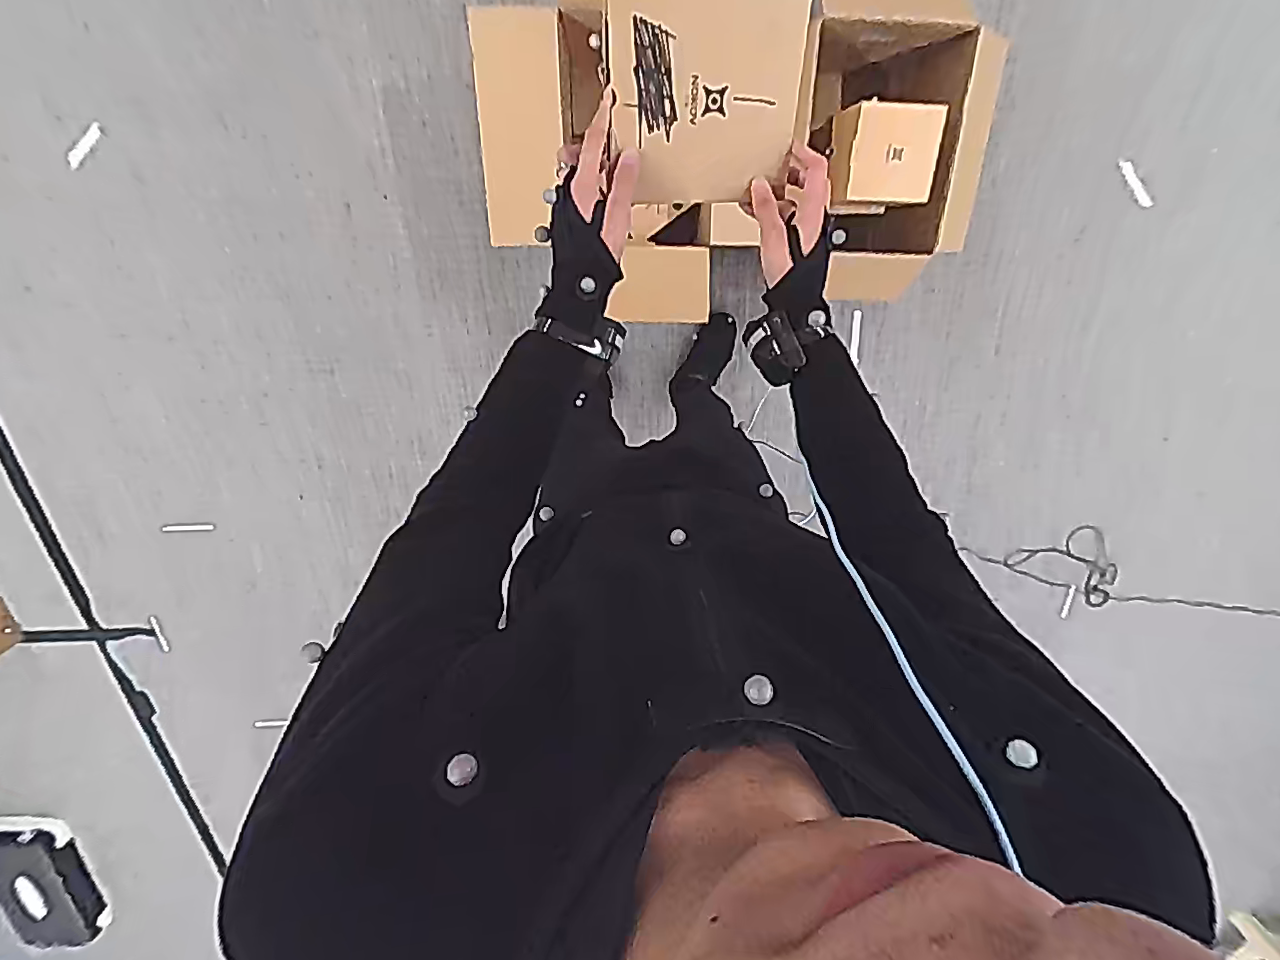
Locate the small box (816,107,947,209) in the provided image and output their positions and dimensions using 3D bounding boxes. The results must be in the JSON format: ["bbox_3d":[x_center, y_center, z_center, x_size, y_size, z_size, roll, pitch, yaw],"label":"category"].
[{"bbox_3d":[0.493,-0.663,1.128,0.179,0.176,0.168,0,115,-3],"label":"small box"}]

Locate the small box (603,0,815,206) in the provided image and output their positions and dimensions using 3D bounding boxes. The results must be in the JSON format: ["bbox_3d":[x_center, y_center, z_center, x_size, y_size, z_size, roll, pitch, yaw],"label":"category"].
[{"bbox_3d":[0.052,-0.380,0.546,0.179,0.176,0.168,-1,124,-4],"label":"small box"}]
